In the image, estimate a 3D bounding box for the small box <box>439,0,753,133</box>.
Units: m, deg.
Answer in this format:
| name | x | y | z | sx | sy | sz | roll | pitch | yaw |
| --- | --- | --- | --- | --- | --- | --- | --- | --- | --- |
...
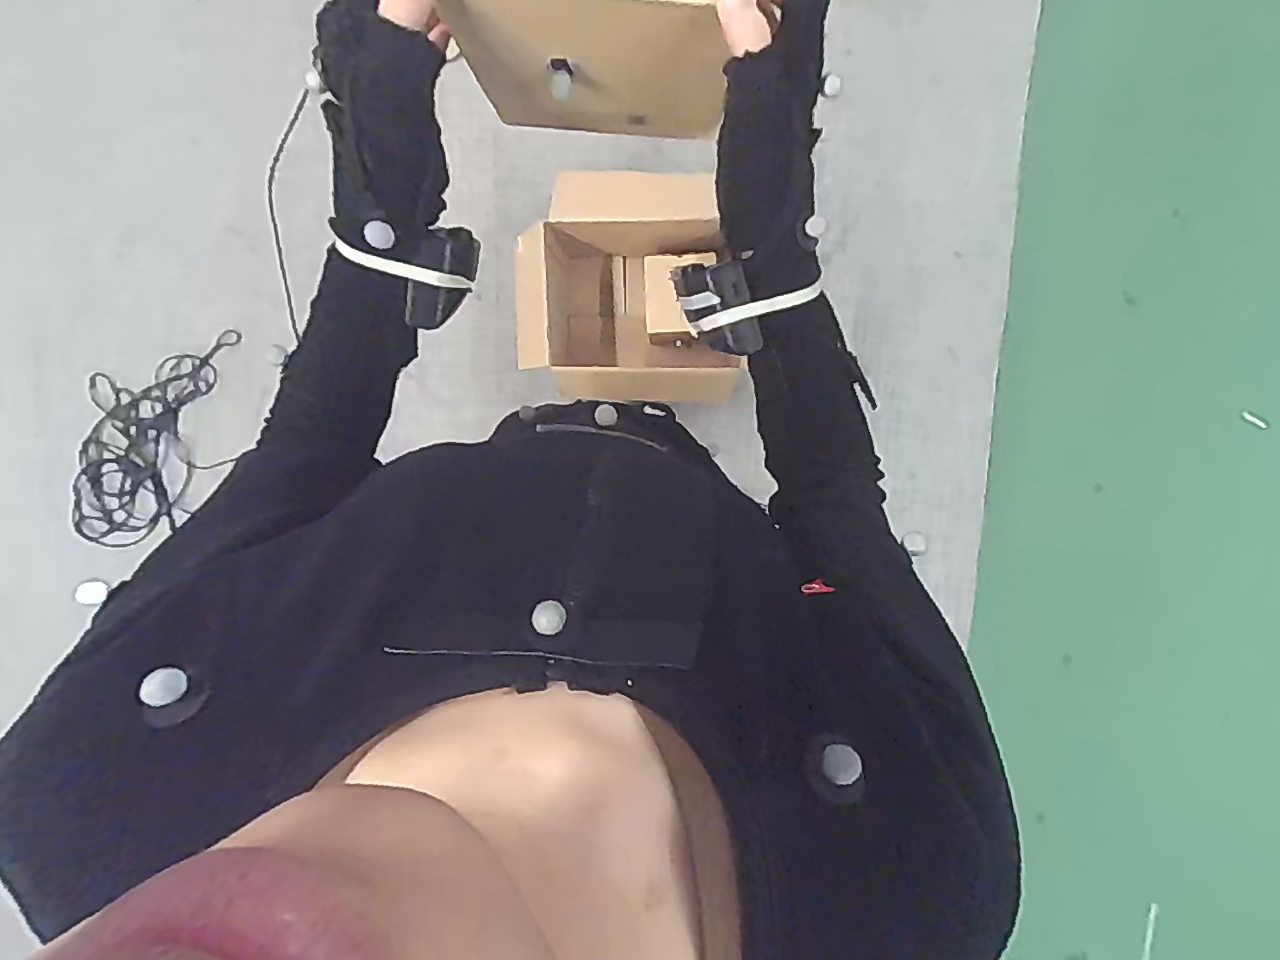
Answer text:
| name | x | y | z | sx | sy | sz | roll | pitch | yaw |
| --- | --- | --- | --- | --- | --- | --- | --- | --- | --- |
| small box | -0.016 | -0.340 | 0.330 | 0.168 | 0.176 | 0.179 | 4 | 103 | -1 |
